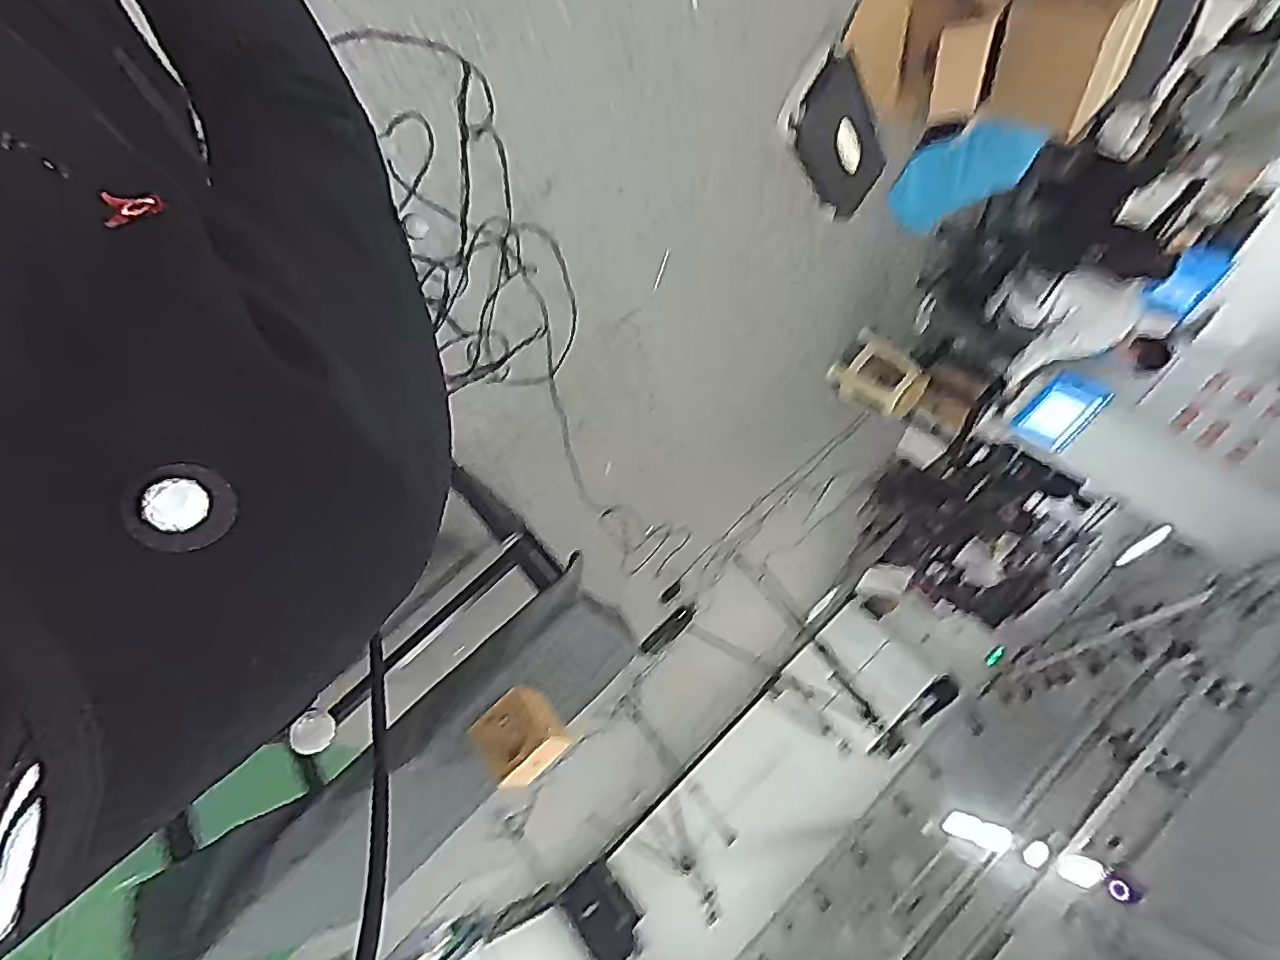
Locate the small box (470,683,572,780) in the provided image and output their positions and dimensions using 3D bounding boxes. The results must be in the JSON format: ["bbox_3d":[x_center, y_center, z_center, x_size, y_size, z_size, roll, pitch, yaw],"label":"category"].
[{"bbox_3d":[-0.315,0.668,1.442,0.168,0.176,0.179,-42,150,-8],"label":"small box"}]
